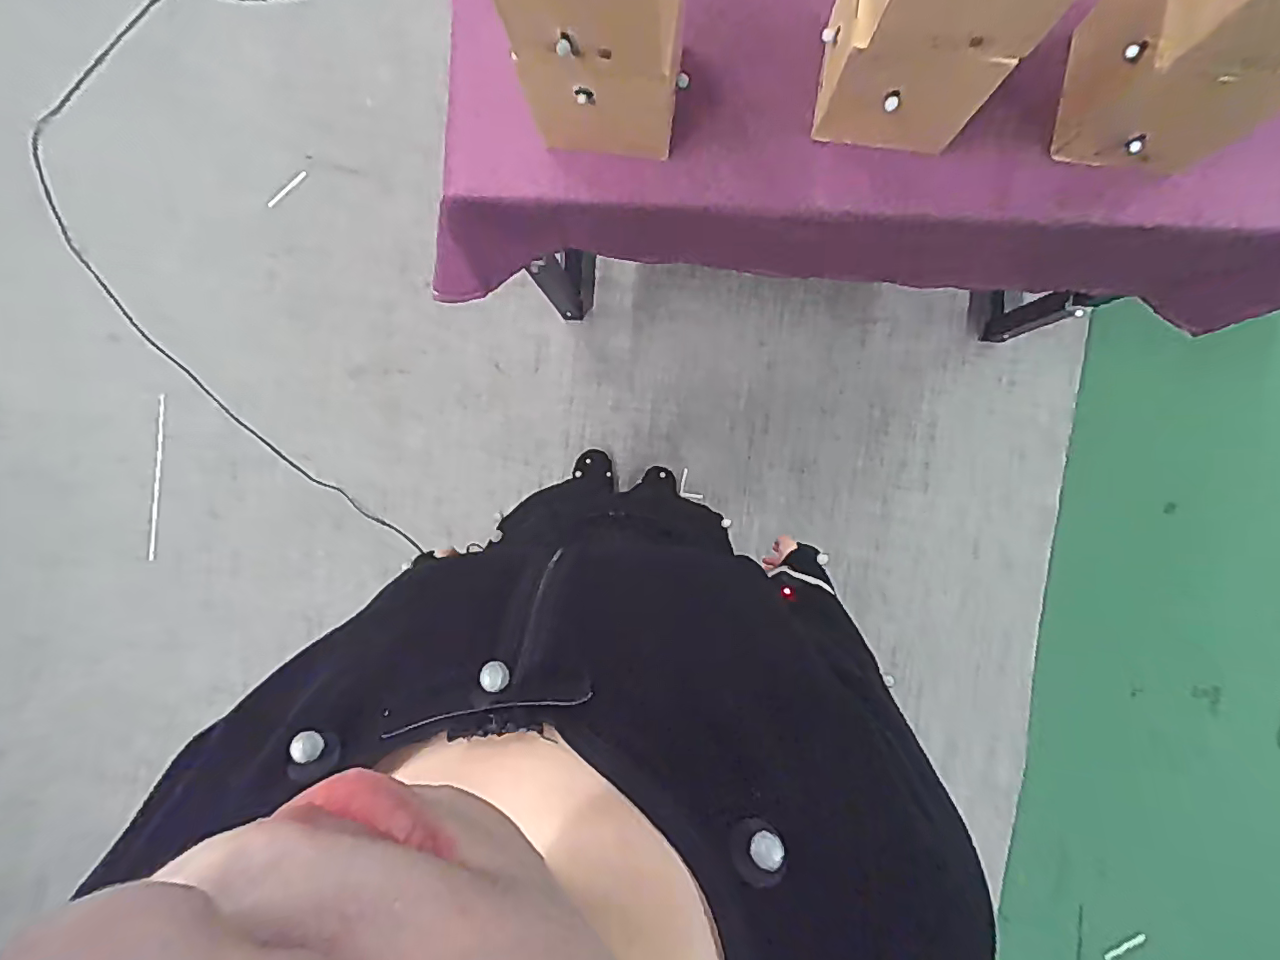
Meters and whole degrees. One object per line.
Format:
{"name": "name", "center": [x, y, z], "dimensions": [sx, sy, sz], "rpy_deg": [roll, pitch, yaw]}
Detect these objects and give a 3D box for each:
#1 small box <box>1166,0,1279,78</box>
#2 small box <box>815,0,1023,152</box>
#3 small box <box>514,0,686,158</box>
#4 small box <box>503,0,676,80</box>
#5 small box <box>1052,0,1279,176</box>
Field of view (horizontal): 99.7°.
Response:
{"name": "small box", "center": [0.627, -0.495, 0.474], "dimensions": [0.168, 0.176, 0.179], "rpy_deg": [8, 92, 3]}
{"name": "small box", "center": [0.326, -0.530, 0.655], "dimensions": [0.179, 0.176, 0.168], "rpy_deg": [9, 92, 4]}
{"name": "small box", "center": [-0.040, -0.534, 0.675], "dimensions": [0.179, 0.176, 0.168], "rpy_deg": [8, 92, 2]}
{"name": "small box", "center": [-0.046, -0.533, 0.512], "dimensions": [0.168, 0.176, 0.179], "rpy_deg": [10, 92, 3]}
{"name": "small box", "center": [0.635, -0.500, 0.639], "dimensions": [0.168, 0.176, 0.179], "rpy_deg": [10, 93, 3]}
